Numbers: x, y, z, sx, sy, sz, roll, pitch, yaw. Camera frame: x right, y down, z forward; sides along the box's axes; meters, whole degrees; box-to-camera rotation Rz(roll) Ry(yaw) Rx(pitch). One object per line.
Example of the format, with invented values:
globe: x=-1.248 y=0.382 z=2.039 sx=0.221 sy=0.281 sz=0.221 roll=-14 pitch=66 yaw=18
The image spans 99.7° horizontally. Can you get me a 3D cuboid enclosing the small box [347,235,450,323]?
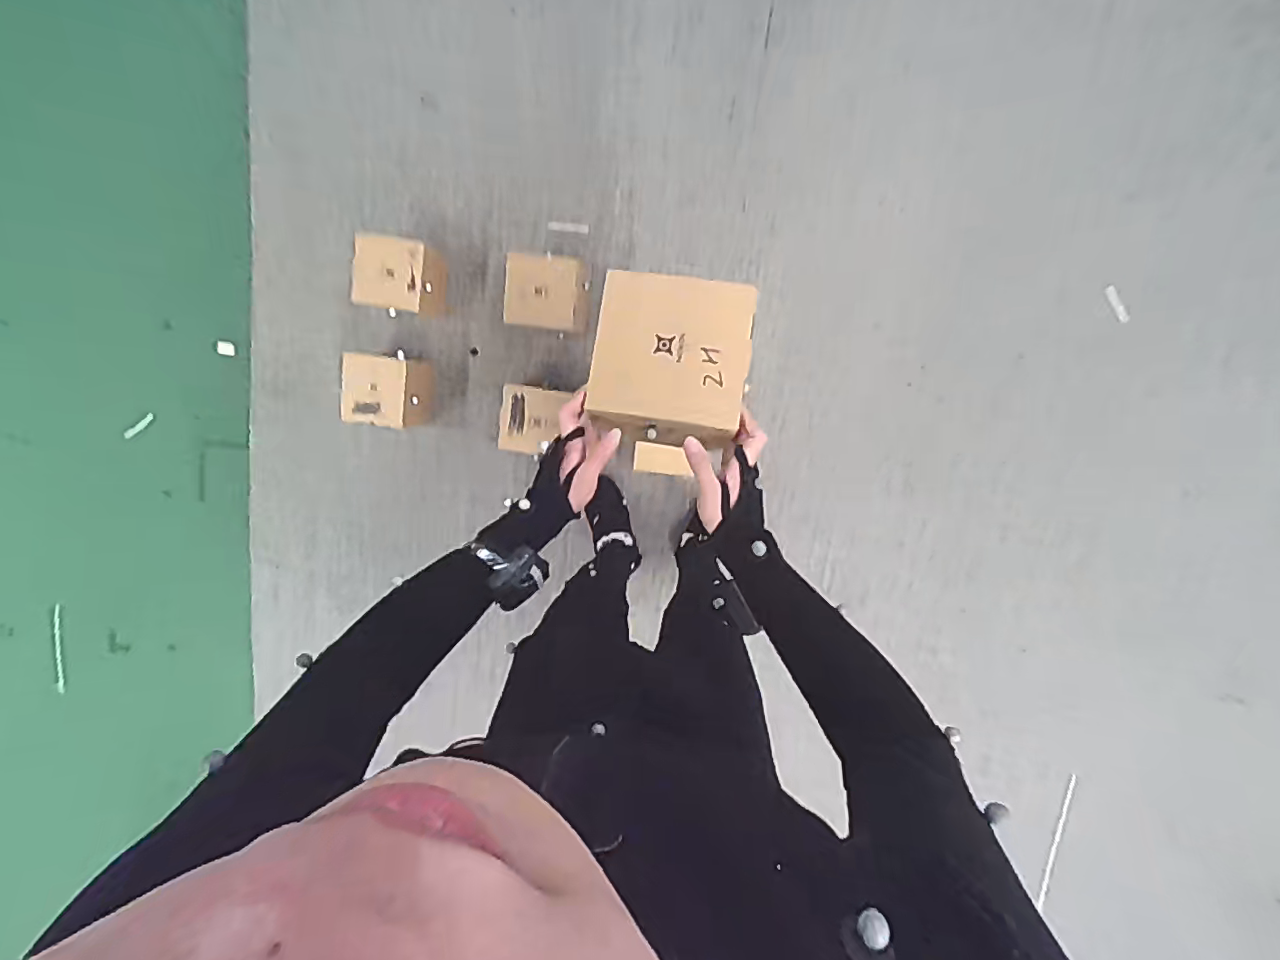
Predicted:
small box: x=-0.614 y=-0.507 z=1.387 sx=0.179 sy=0.176 sz=0.168 roll=10 pitch=100 yaw=2

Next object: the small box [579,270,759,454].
small box: x=0.036 y=-0.132 z=0.665 sx=0.179 sy=0.176 sz=0.168 roll=9 pitch=85 yaw=4

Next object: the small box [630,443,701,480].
small box: x=0.072 y=-0.099 z=1.413 sx=0.179 sy=0.176 sz=0.168 roll=6 pitch=99 yaw=1

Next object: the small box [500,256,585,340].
small box: x=-0.241 y=-0.454 z=1.373 sx=0.179 sy=0.176 sz=0.168 roll=7 pitch=98 yaw=2

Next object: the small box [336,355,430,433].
small box: x=-0.674 y=-0.227 z=1.434 sx=0.168 sy=0.176 sz=0.179 roll=9 pitch=99 yaw=2
